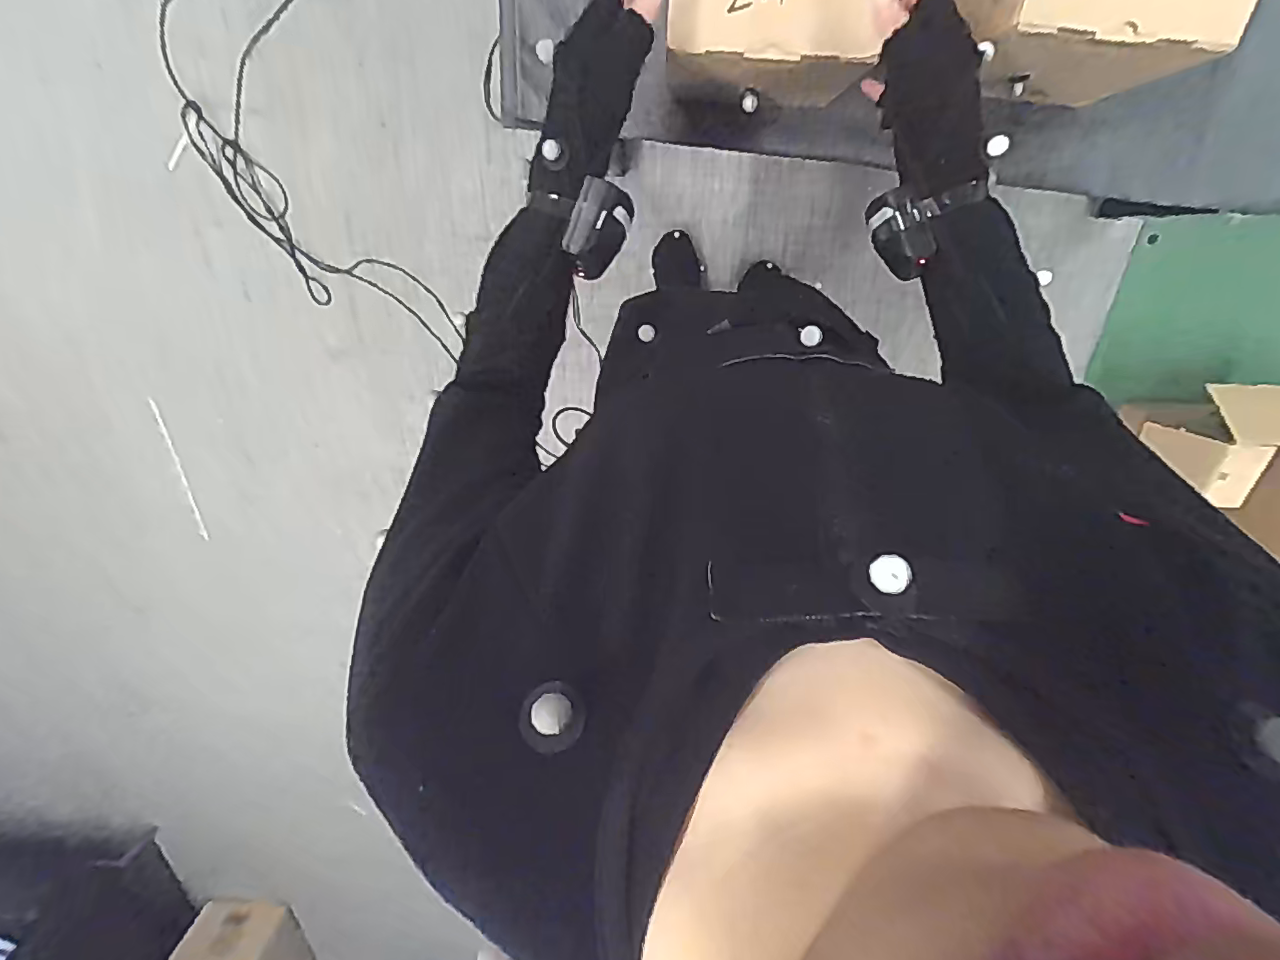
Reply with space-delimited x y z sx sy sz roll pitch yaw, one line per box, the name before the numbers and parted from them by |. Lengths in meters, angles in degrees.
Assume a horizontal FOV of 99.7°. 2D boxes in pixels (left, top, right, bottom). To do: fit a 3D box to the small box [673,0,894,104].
small box | 0.116 -0.443 0.455 0.168 0.176 0.179 4 116 3
